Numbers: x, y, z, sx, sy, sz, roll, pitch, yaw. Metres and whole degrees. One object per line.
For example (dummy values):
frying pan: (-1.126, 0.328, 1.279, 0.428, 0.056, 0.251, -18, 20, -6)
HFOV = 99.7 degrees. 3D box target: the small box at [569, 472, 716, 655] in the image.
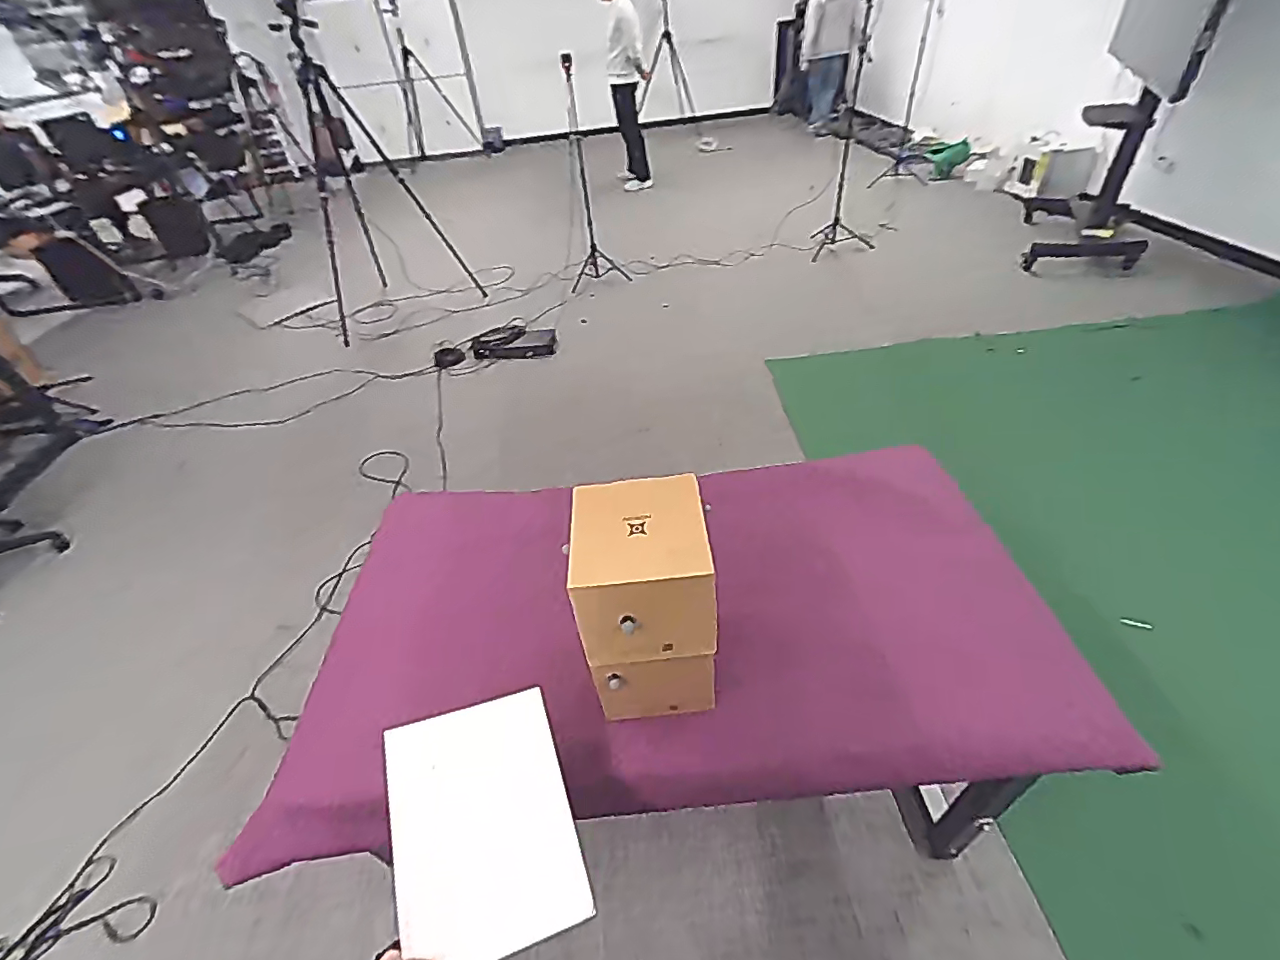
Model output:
small box: (0.007, 0.114, 0.711, 0.168, 0.176, 0.179, -6, 40, 1)
